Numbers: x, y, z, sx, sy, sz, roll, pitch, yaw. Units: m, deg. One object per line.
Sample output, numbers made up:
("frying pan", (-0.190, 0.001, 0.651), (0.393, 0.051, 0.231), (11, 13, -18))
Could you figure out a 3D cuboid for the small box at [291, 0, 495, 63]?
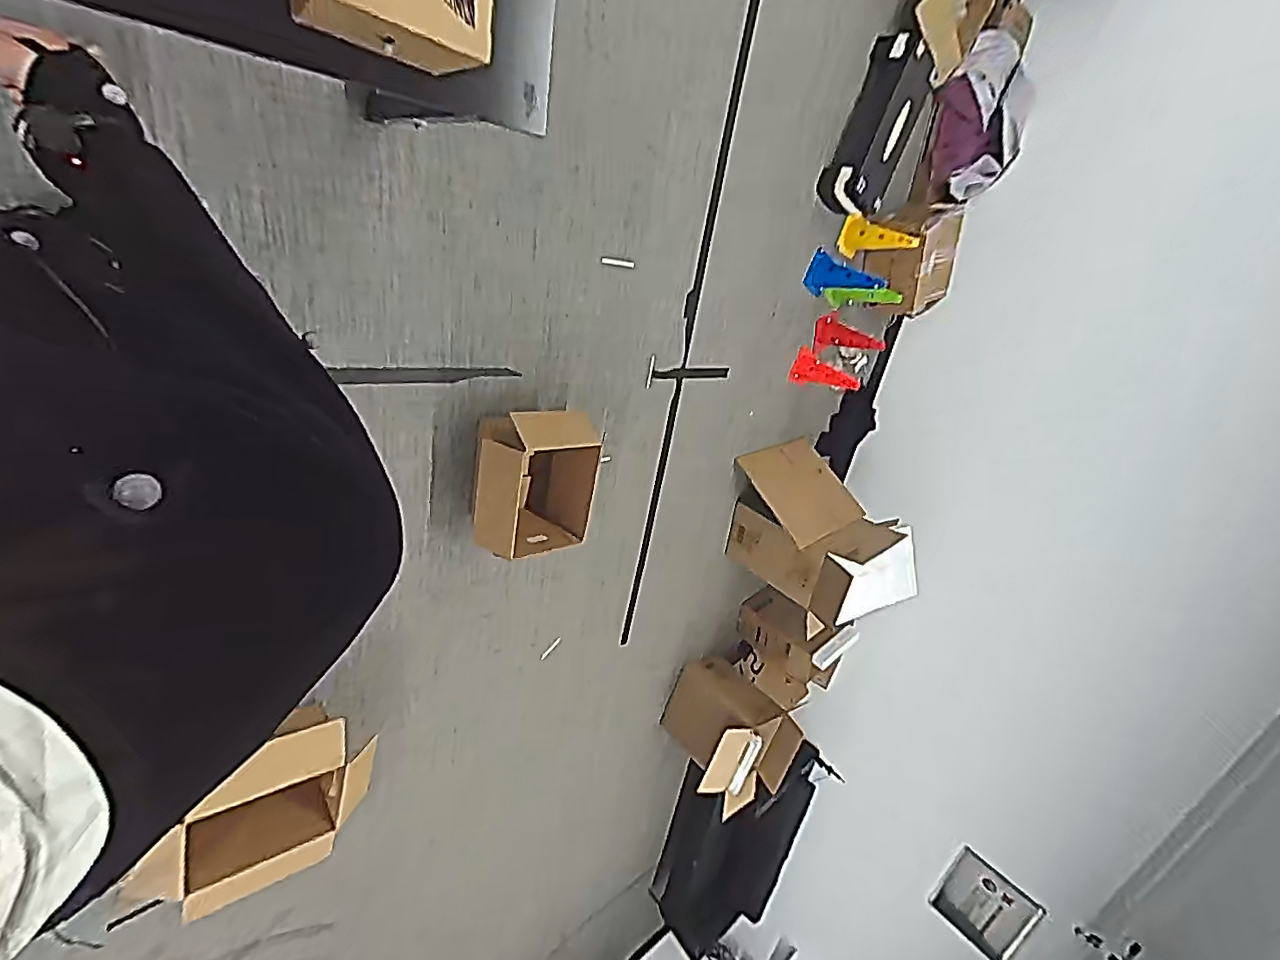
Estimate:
("small box", (-0.277, -0.595, 0.604), (0.179, 0.176, 0.168), (-9, 121, -41))
